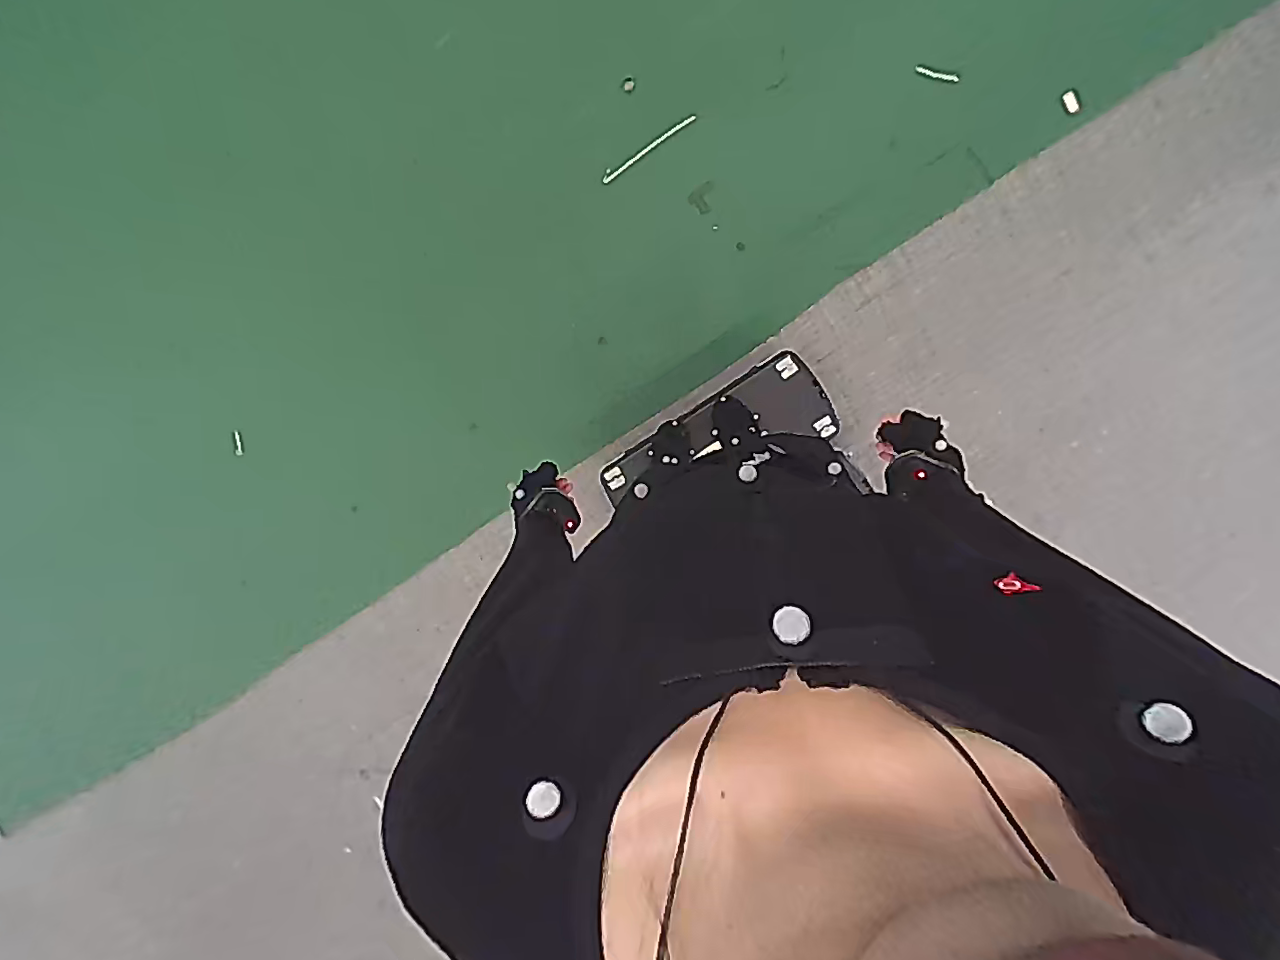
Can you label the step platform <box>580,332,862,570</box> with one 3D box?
[{"bbox_3d":[0.188,-0.074,1.374,0.684,0.204,0.286,-34,95,8],"label":"step platform"}]
